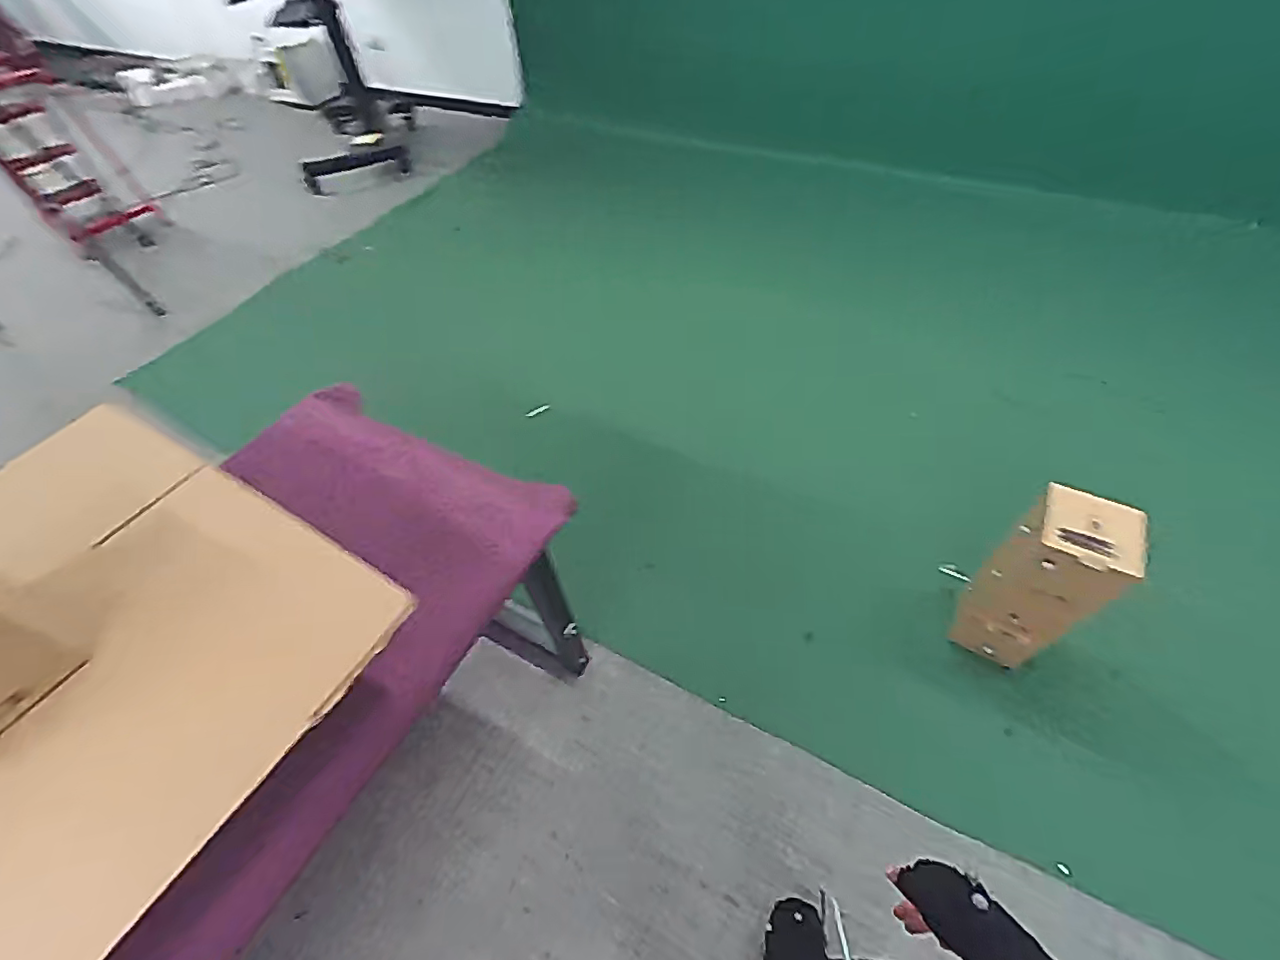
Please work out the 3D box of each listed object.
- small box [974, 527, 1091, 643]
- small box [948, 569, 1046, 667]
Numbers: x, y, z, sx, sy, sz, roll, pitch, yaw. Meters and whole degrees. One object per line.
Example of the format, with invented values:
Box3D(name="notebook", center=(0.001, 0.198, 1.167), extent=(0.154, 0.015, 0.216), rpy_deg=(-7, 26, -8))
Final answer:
Box3D(name="small box", center=(0.918, 0.249, 1.274), extent=(0.168, 0.176, 0.179), rpy_deg=(22, 57, 19))
Box3D(name="small box", center=(0.929, 0.350, 1.401), extent=(0.168, 0.176, 0.179), rpy_deg=(23, 57, 21))
